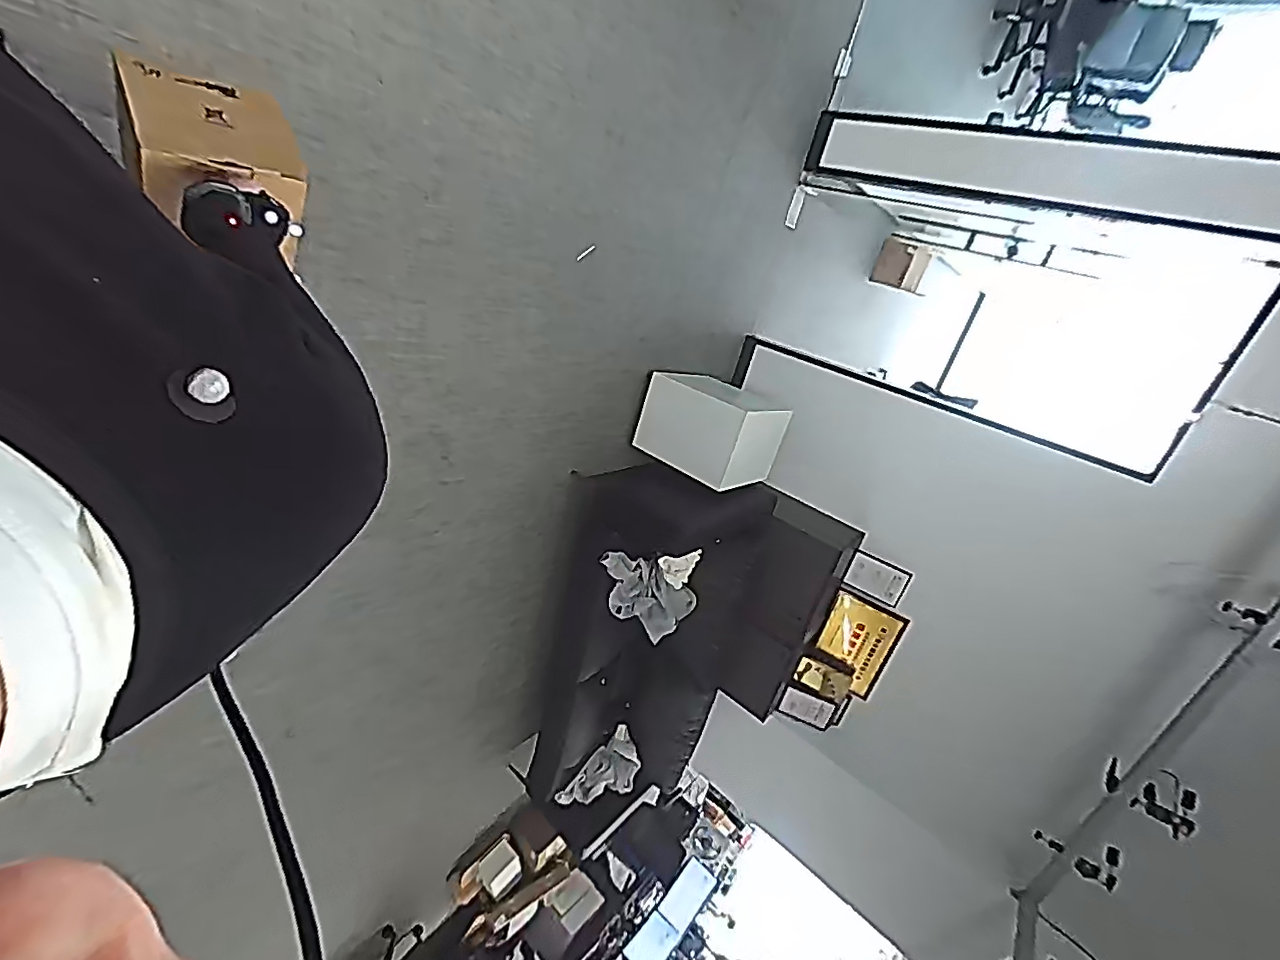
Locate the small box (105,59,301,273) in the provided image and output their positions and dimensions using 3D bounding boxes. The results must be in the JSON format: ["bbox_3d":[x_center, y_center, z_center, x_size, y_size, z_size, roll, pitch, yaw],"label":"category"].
[{"bbox_3d":[-0.579,-0.404,0.730,0.168,0.179,0.176,-16,159,-43],"label":"small box"}]
